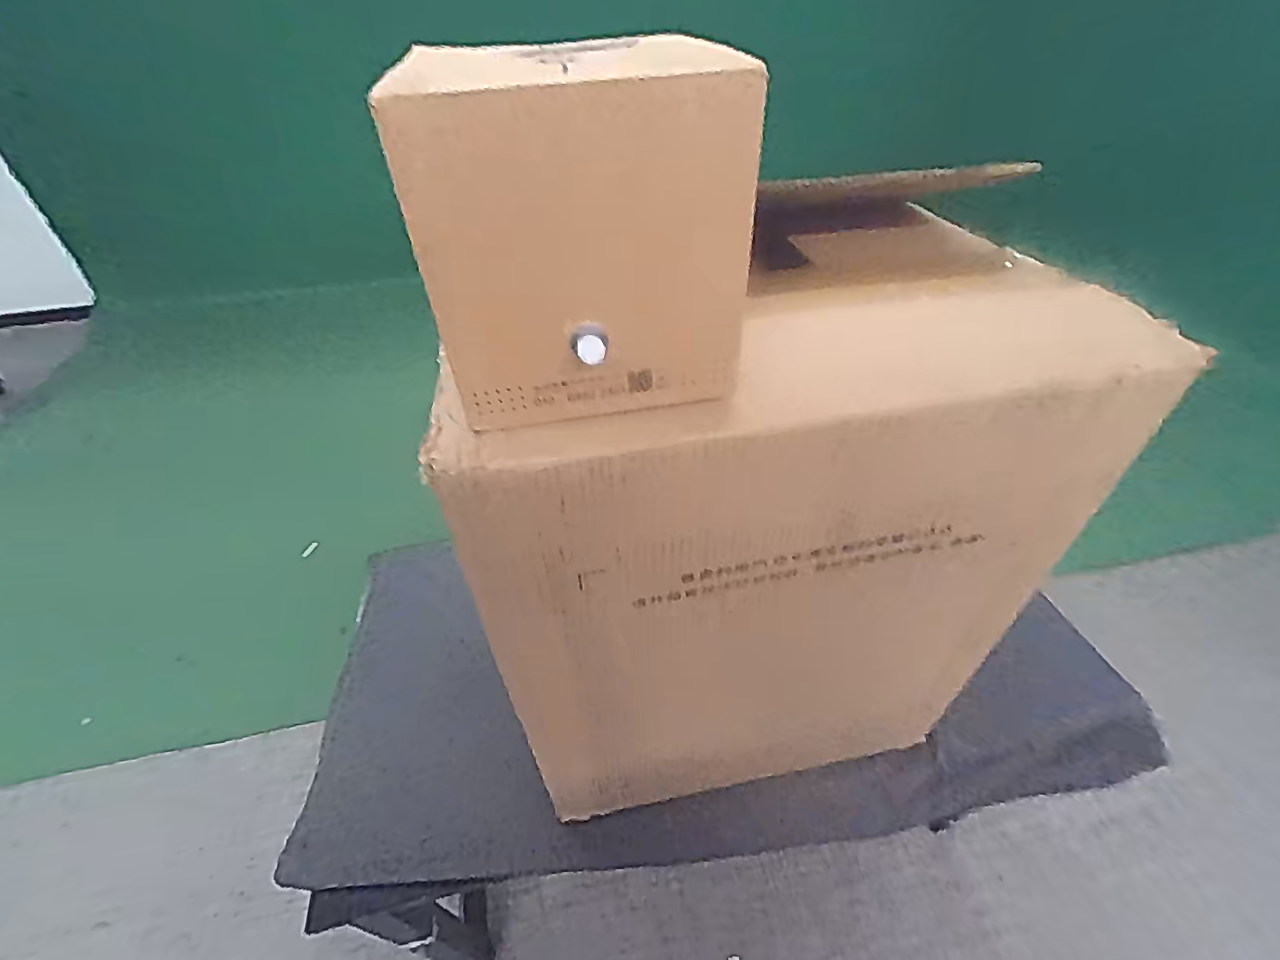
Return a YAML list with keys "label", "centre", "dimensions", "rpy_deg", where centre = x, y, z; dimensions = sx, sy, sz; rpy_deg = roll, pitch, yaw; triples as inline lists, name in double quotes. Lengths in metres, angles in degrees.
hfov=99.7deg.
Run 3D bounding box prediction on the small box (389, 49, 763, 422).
- label: "small box"
  centre: [-0.037, -0.160, 0.347]
  dimensions: [0.168, 0.176, 0.179]
  rpy_deg: [-9, 43, -6]
